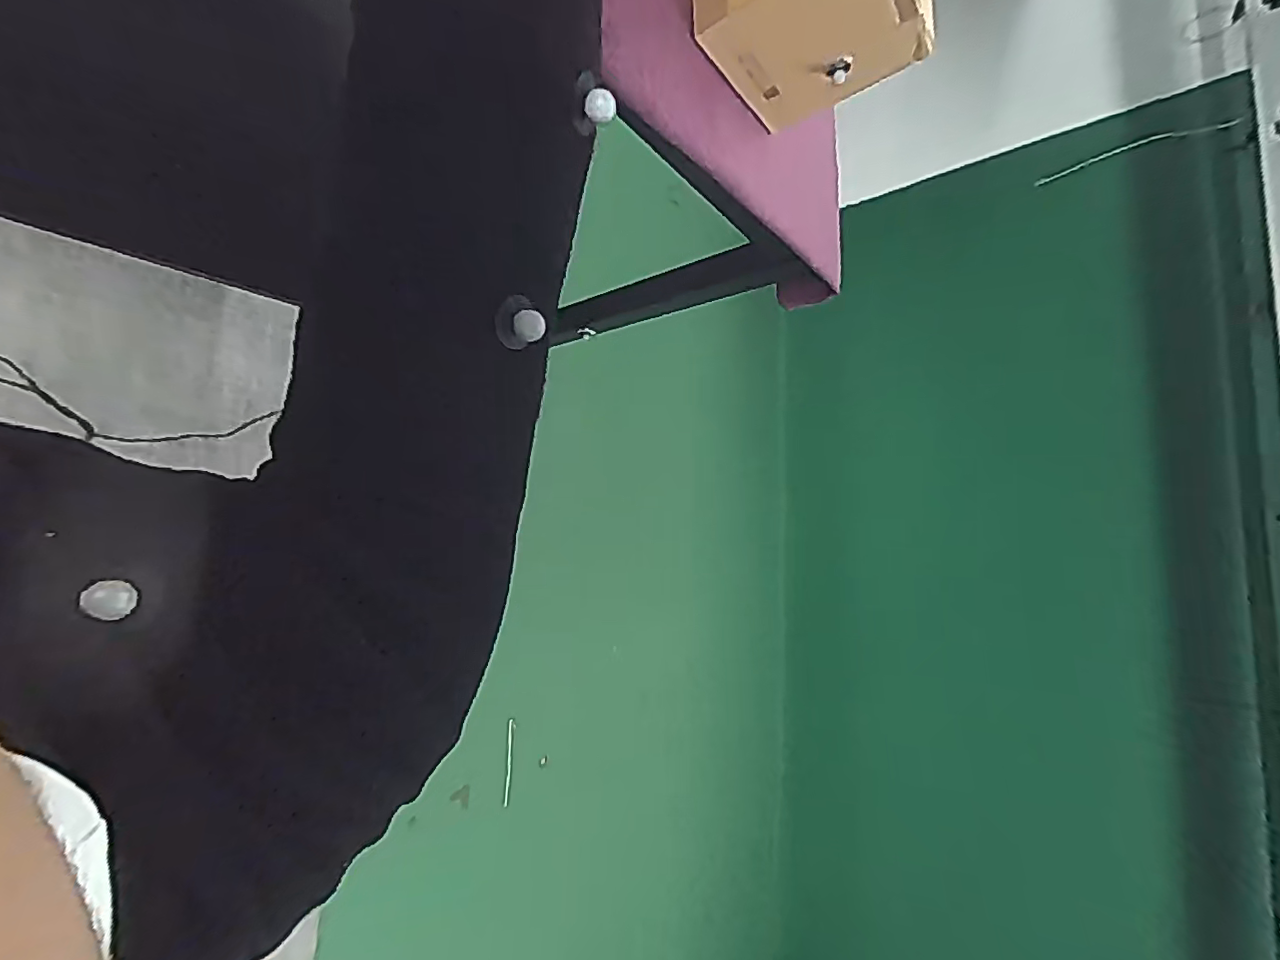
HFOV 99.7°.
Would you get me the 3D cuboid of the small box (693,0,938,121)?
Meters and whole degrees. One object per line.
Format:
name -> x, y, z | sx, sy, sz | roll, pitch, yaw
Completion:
small box -> 0.156, -0.477, 0.488 | 0.168, 0.176, 0.179 | 4, 83, -52
